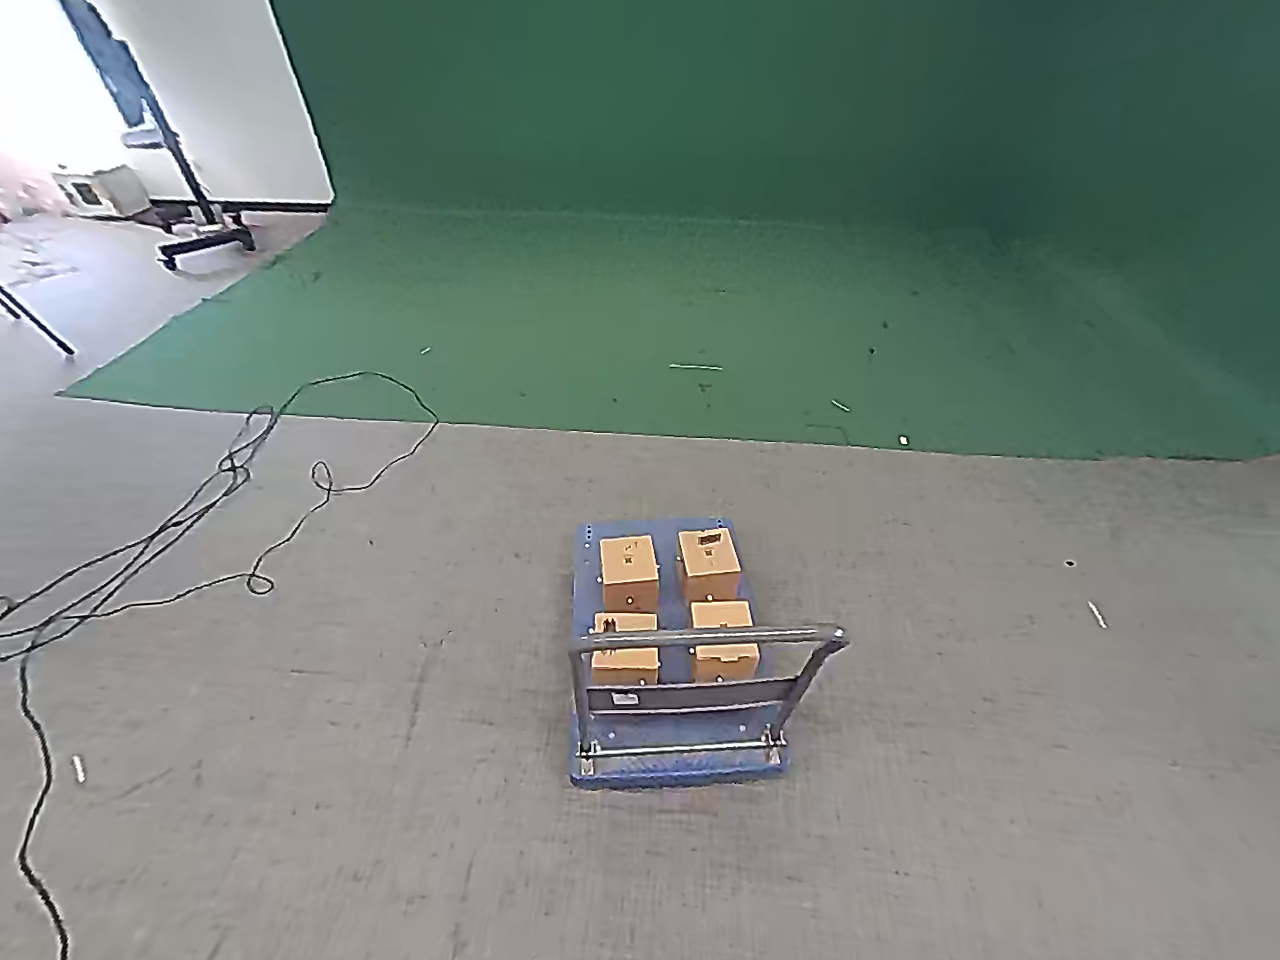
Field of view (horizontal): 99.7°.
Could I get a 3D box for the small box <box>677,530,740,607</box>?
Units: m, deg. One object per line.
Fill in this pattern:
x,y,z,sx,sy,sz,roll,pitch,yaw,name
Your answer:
0.215,0.286,1.750,0.168,0.176,0.179,-5,45,-5,small box

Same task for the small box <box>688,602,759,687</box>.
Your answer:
0.232,0.473,1.555,0.168,0.176,0.179,-2,44,-2,small box

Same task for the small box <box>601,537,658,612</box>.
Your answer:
-0.034,0.308,1.725,0.168,0.176,0.179,-4,44,-6,small box
